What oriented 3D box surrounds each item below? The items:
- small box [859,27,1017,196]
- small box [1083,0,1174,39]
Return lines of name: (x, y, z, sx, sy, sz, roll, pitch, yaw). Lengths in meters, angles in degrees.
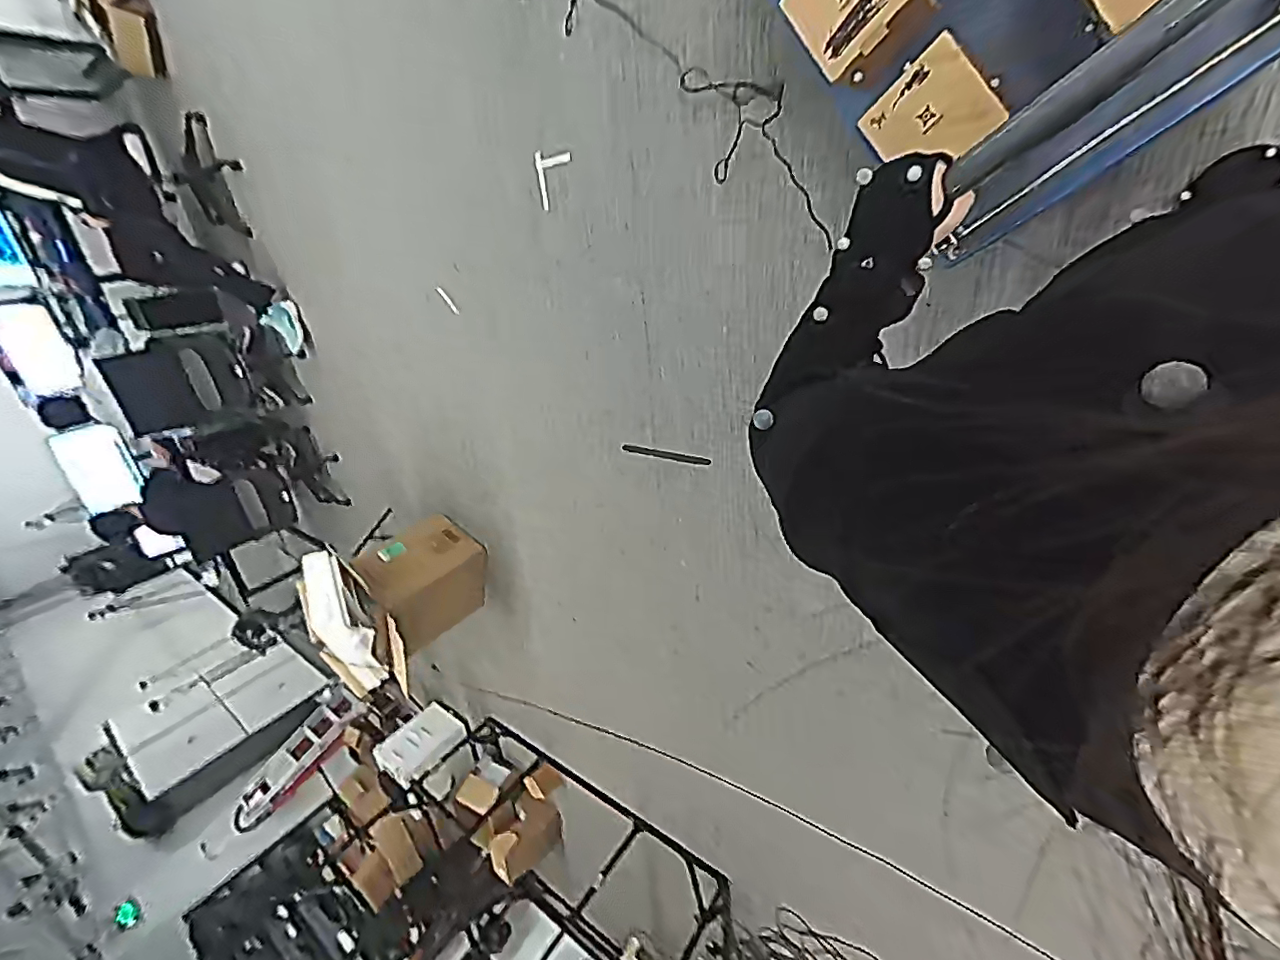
small box: (0.523, -0.630, 0.941, 0.179, 0.176, 0.168, 54, 135, 1)
small box: (0.697, -0.745, 0.730, 0.168, 0.176, 0.179, -31, 91, 45)
